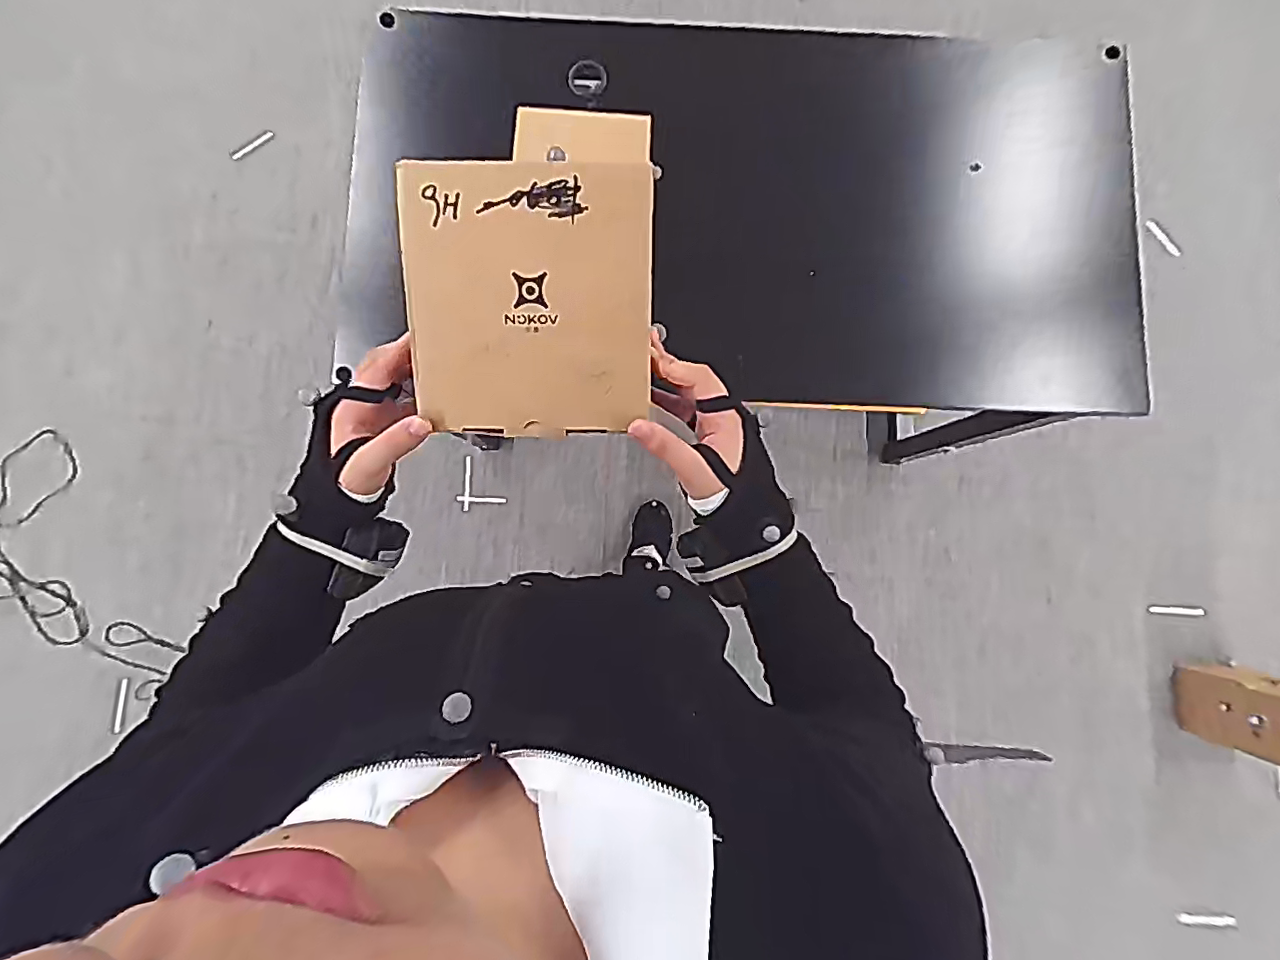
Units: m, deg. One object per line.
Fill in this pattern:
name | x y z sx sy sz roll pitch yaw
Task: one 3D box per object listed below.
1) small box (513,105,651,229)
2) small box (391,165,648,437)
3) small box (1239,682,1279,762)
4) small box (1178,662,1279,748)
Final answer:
small box | -0.076 -0.362 0.736 0.168 0.176 0.179 4 84 0
small box | -0.078 -0.137 0.443 0.168 0.176 0.179 0 104 0
small box | 1.547 0.564 1.232 0.179 0.176 0.168 -2 83 1
small box | 1.549 0.576 1.394 0.168 0.176 0.179 1 85 0
